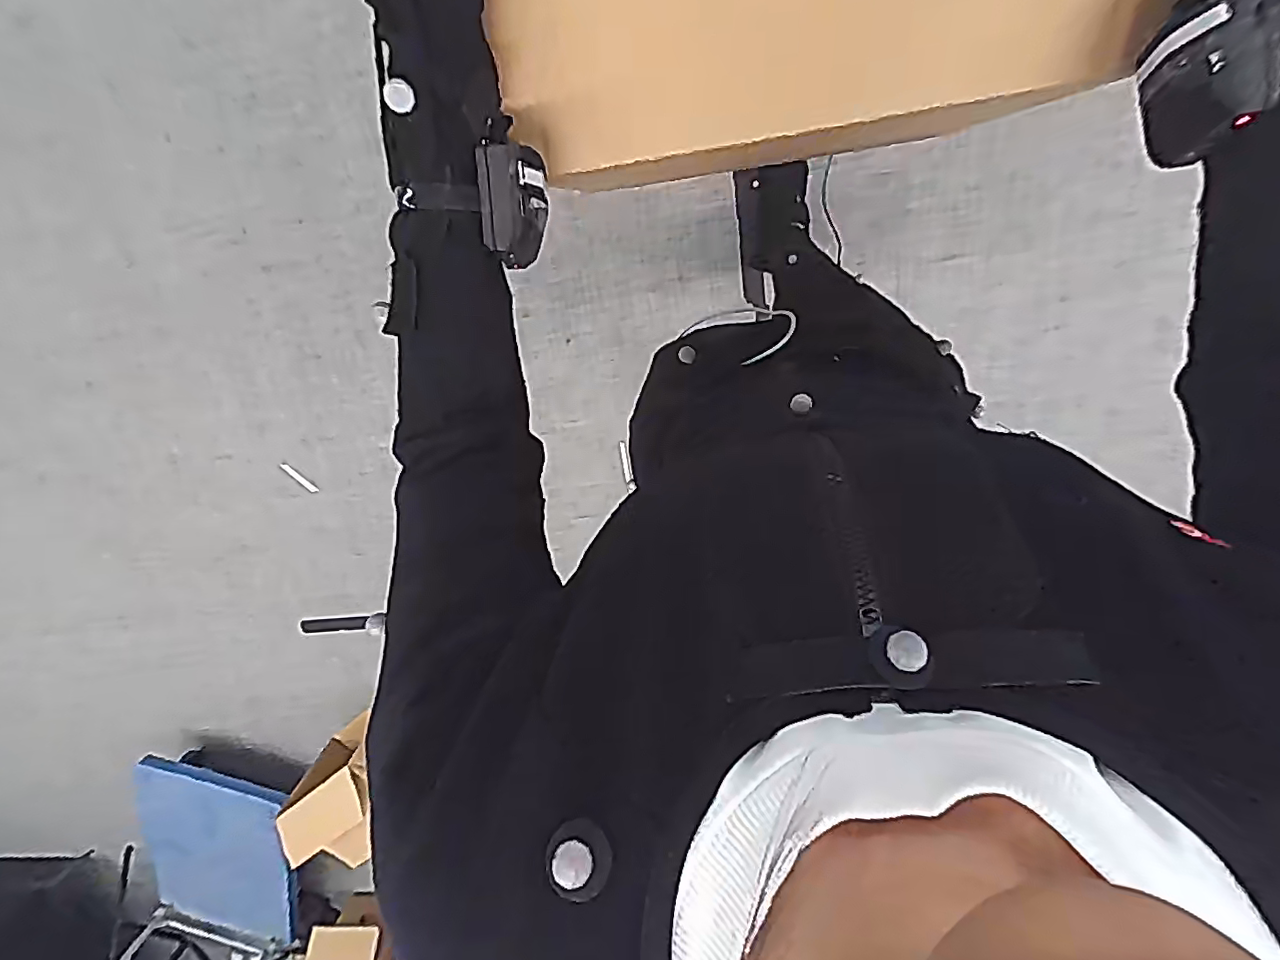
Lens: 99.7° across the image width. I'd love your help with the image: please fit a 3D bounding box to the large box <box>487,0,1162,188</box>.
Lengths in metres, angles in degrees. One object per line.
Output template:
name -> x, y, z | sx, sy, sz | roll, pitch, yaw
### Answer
large box -> 0.097, -0.441, 0.420 | 0.408, 0.320, 0.320 | -6, 116, 7
